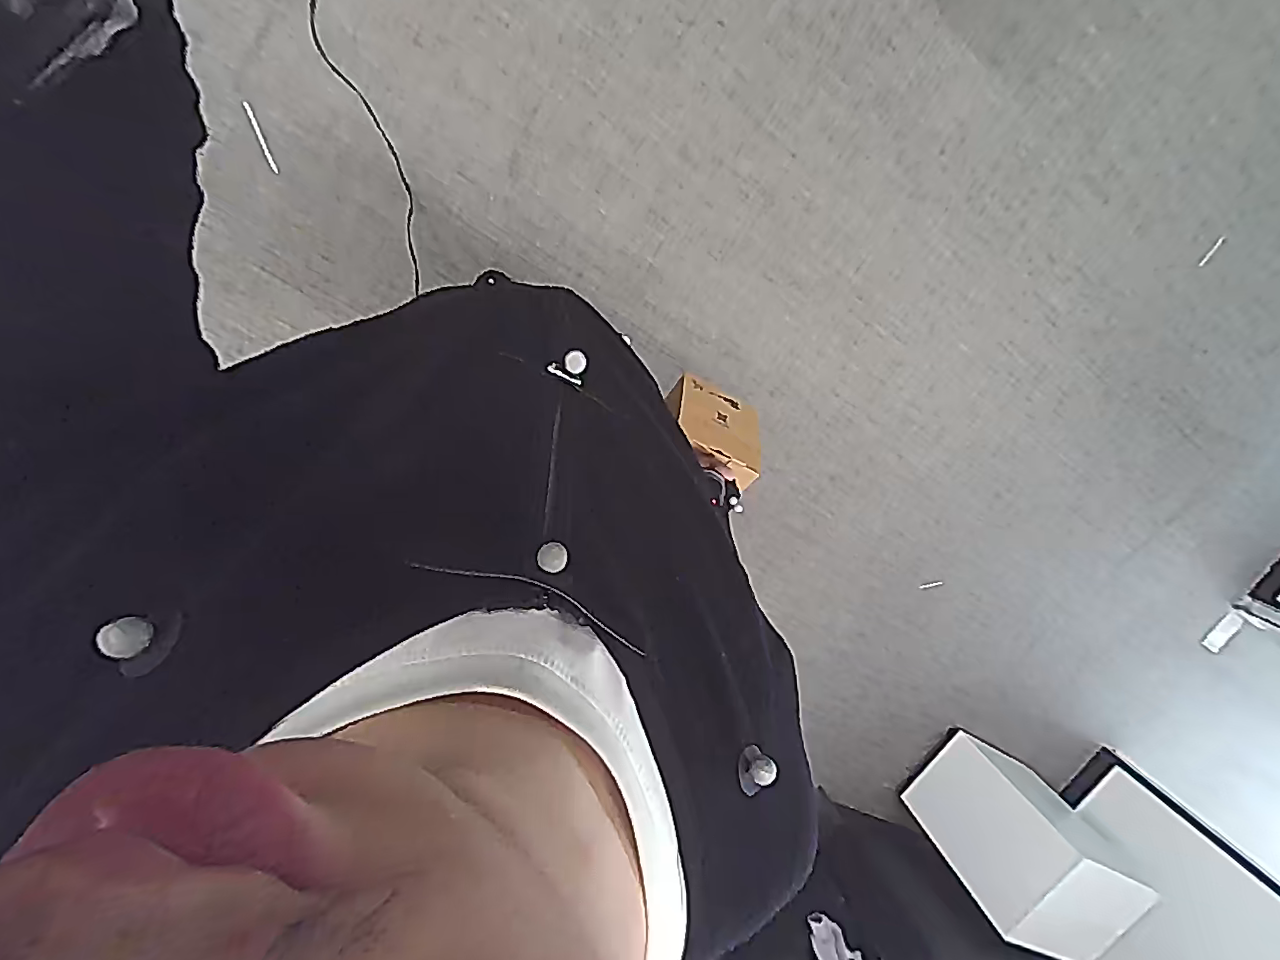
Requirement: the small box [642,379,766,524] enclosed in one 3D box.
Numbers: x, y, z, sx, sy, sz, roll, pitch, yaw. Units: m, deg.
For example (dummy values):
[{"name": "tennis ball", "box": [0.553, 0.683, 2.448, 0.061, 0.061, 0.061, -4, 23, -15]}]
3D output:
[{"name": "small box", "box": [0.114, -0.046, 0.999, 0.168, 0.179, 0.176, 22, 135, -14]}]
